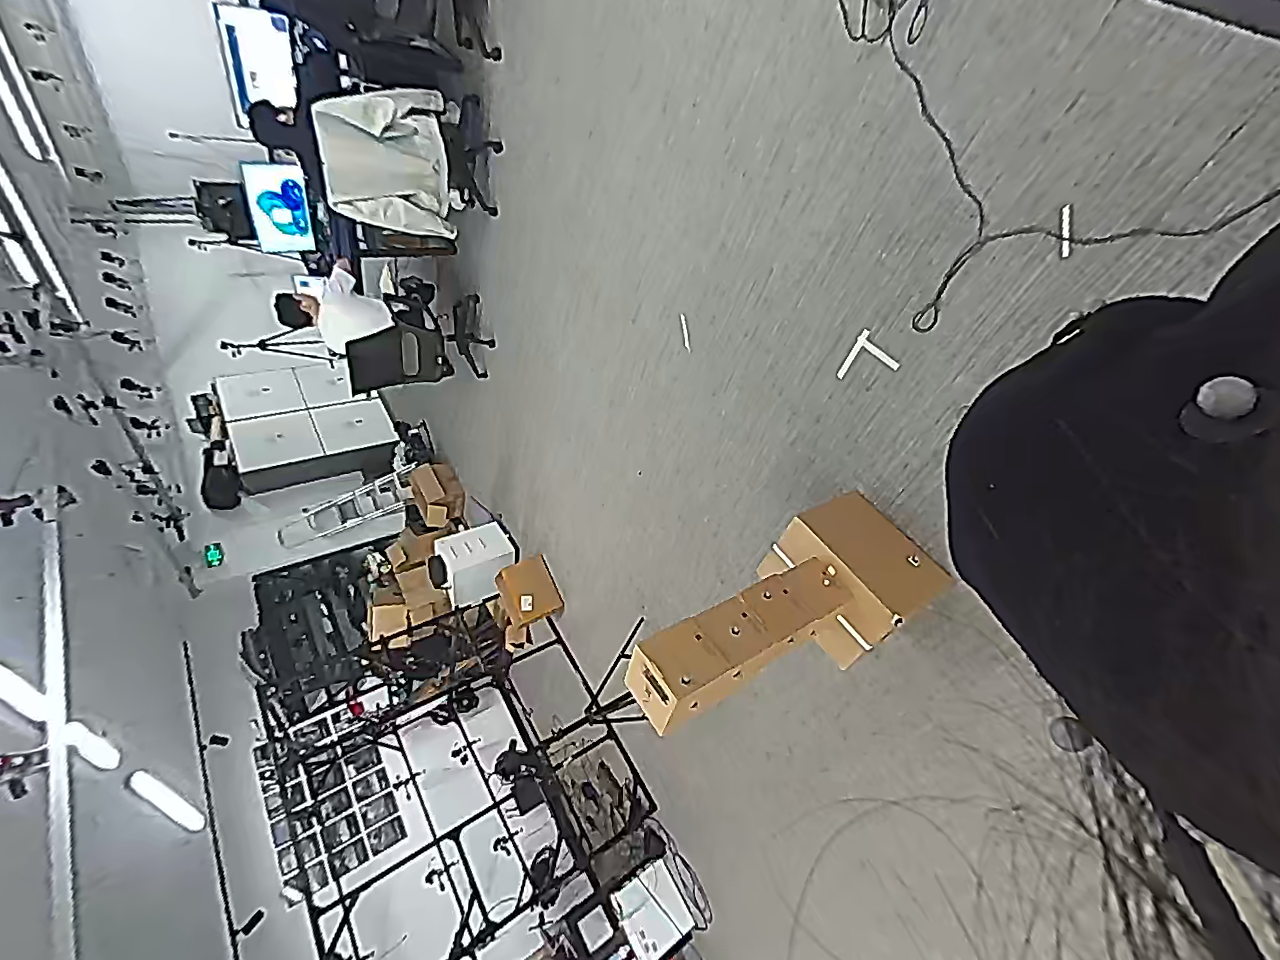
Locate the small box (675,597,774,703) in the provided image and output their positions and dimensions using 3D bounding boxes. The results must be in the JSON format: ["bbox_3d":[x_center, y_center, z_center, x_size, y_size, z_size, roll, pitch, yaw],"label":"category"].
[{"bbox_3d":[0.221,0.435,1.407,0.168,0.176,0.179,48,140,35],"label":"small box"}]

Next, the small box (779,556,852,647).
[{"bbox_3d":[0.483,0.352,1.583,0.168,0.176,0.179,51,141,29],"label":"small box"}]

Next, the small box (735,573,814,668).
[{"bbox_3d":[0.352,0.387,1.495,0.168,0.176,0.179,51,142,31],"label":"small box"}]
